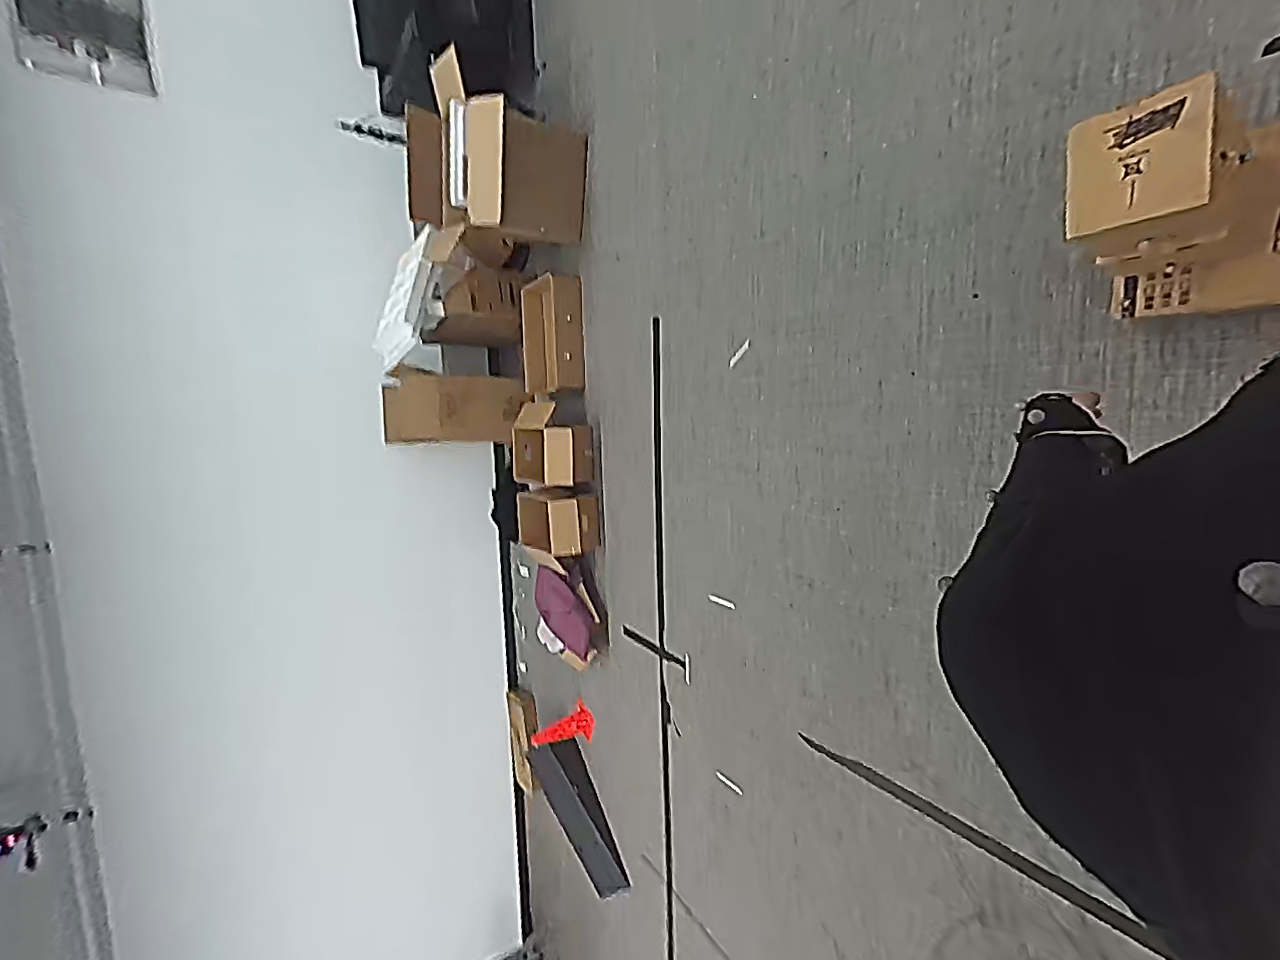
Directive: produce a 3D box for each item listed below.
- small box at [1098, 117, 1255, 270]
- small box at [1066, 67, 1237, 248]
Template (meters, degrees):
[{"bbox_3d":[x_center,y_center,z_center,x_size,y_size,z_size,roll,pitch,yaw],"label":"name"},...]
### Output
[{"bbox_3d":[0.936,-0.484,0.944,0.168,0.176,0.179,8,102,54],"label":"small box"},{"bbox_3d":[0.802,-0.486,0.849,0.168,0.176,0.179,6,100,54],"label":"small box"}]
